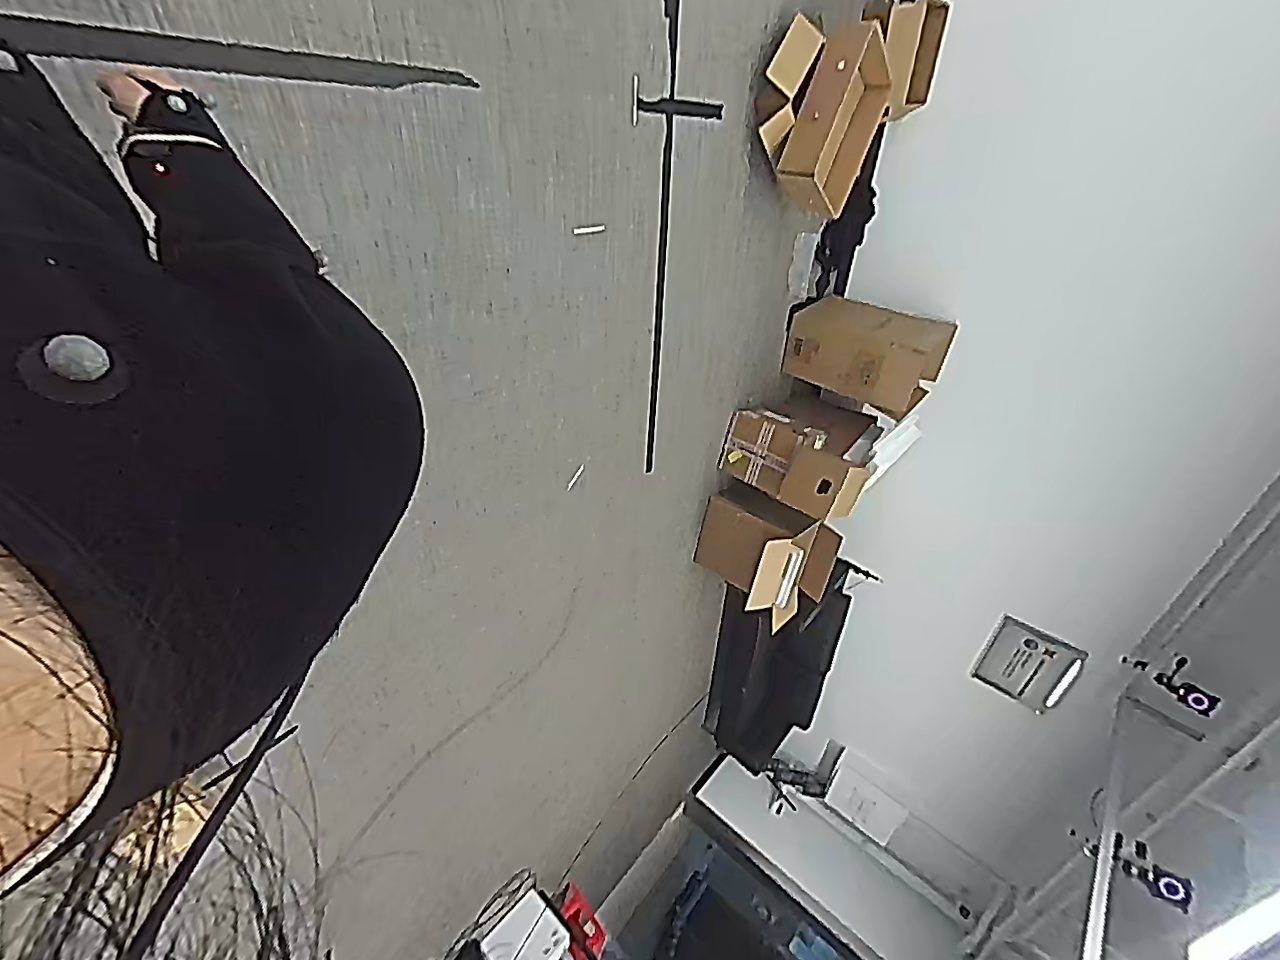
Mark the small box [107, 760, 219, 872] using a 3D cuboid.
[{"bbox_3d":[-1.317,0.921,1.496,0.168,0.176,0.179,-32,138,-39],"label":"small box"}]
